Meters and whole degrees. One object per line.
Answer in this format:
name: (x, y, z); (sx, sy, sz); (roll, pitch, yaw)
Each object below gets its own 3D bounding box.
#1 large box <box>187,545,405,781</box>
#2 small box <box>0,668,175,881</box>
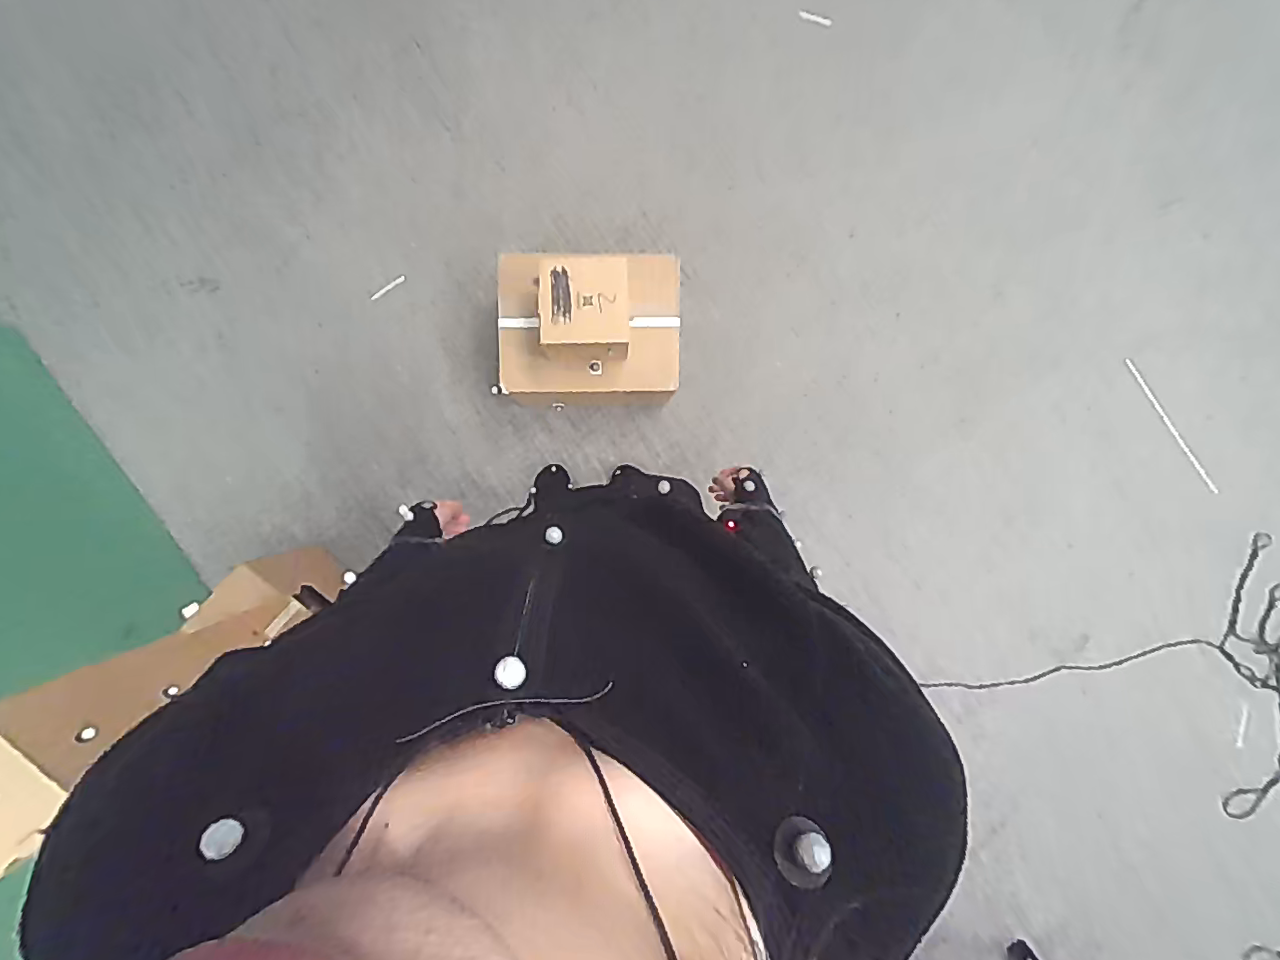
large box: (-0.886, 0.427, 1.358); (0.320, 0.320, 0.408); (41, 91, -1)
small box: (-0.851, 0.410, 0.785); (0.168, 0.176, 0.179); (-45, 94, -1)
